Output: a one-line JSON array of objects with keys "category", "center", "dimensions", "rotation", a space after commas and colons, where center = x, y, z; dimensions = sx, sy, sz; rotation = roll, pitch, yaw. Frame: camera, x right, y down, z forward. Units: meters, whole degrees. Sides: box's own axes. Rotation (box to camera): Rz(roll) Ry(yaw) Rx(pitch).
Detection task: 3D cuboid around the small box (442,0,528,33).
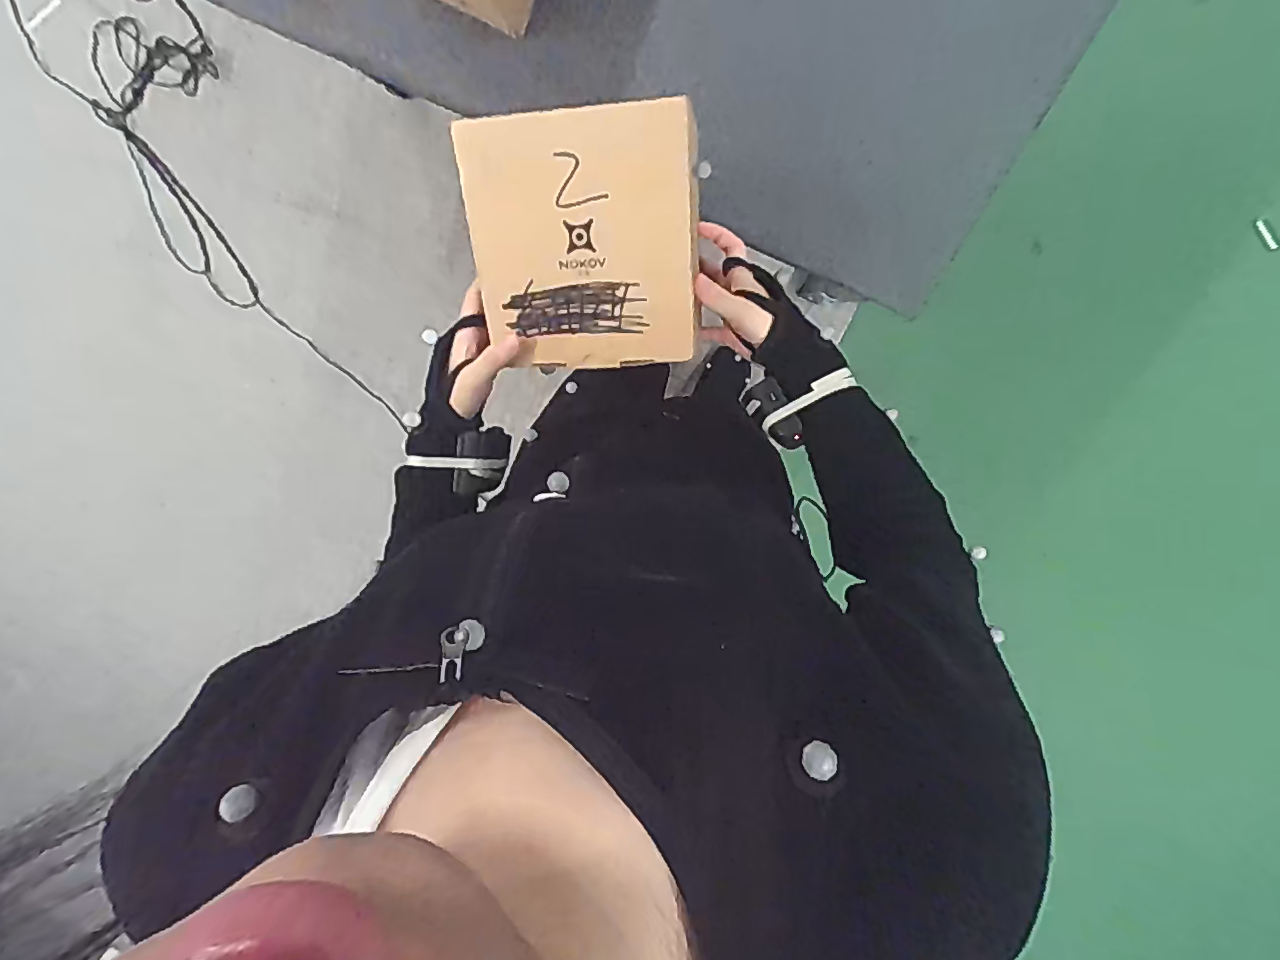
[{"category": "small box", "center": [-0.182, -0.581, 0.502], "dimensions": [0.168, 0.176, 0.179], "rotation": [27, 109, -2]}]
